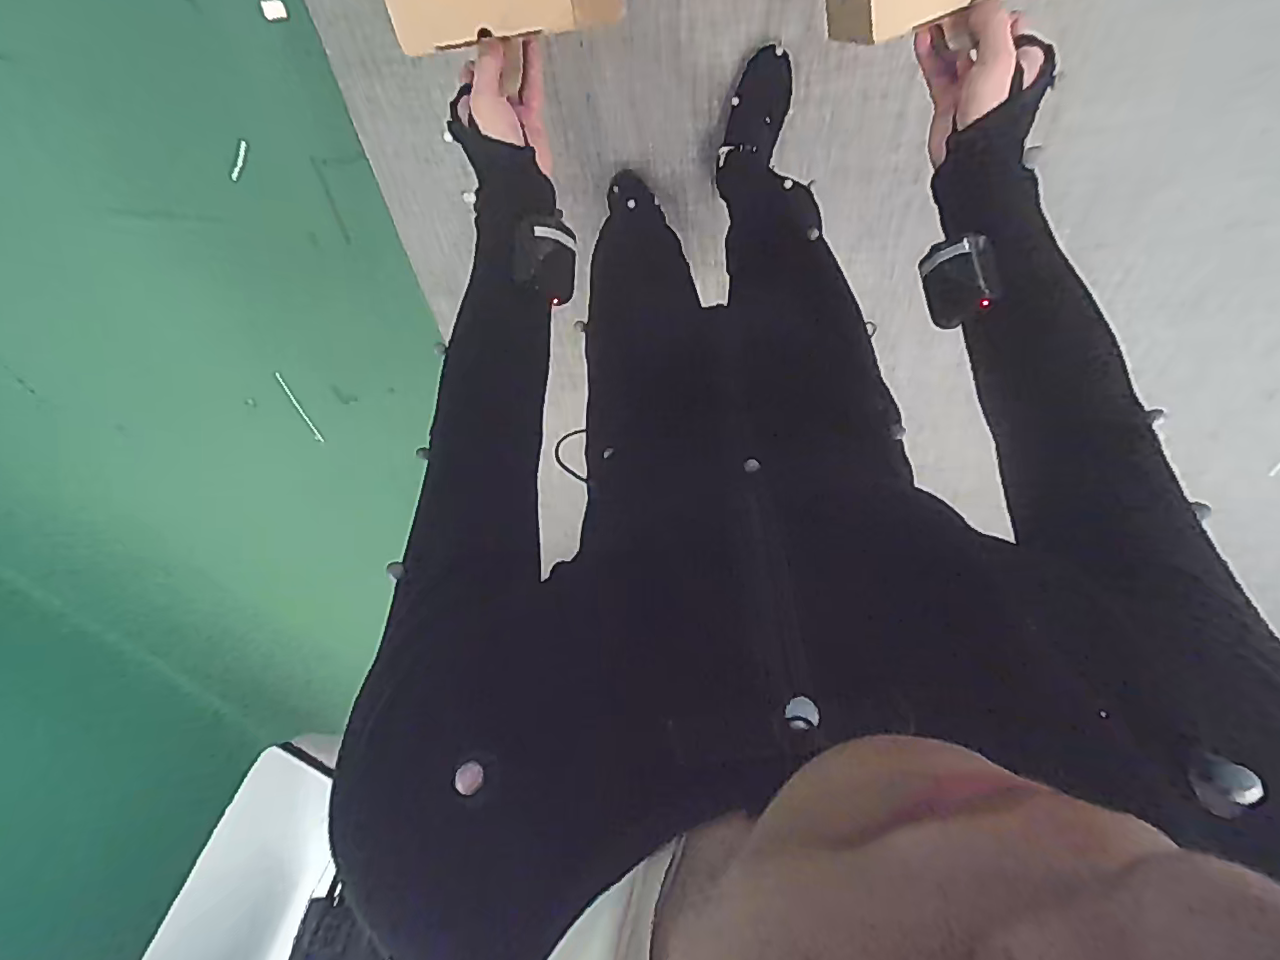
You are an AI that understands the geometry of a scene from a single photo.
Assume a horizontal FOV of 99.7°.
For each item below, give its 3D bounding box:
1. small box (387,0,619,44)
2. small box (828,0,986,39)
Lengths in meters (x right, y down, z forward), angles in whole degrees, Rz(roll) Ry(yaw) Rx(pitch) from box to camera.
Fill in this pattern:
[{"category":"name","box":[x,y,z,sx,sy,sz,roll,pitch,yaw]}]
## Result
[{"category":"small box","box":[-0.121,-0.491,0.451,0.168,0.176,0.179,3,134,14]},{"category":"small box","box":[0.246,-0.492,0.433,0.168,0.176,0.179,-12,128,12]}]
